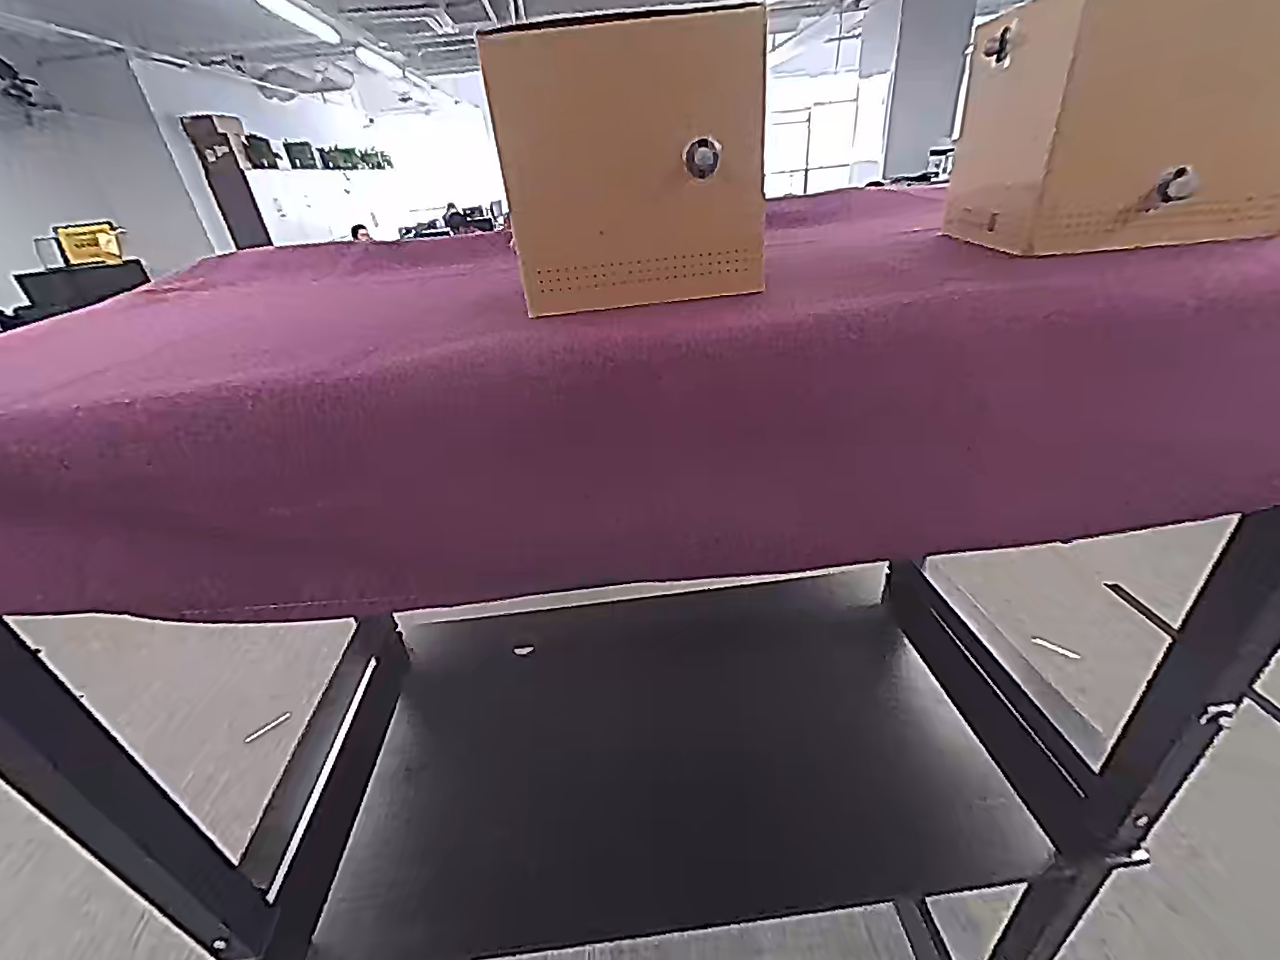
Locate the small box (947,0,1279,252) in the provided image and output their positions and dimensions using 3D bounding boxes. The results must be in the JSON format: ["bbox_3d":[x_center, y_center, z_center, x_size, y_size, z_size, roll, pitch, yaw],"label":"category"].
[{"bbox_3d":[0.374,-0.284,0.423,0.179,0.176,0.168,-2,30,7],"label":"small box"}]

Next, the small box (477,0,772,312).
[{"bbox_3d":[-0.007,-0.239,0.421,0.179,0.176,0.168,-7,29,-1],"label":"small box"}]
